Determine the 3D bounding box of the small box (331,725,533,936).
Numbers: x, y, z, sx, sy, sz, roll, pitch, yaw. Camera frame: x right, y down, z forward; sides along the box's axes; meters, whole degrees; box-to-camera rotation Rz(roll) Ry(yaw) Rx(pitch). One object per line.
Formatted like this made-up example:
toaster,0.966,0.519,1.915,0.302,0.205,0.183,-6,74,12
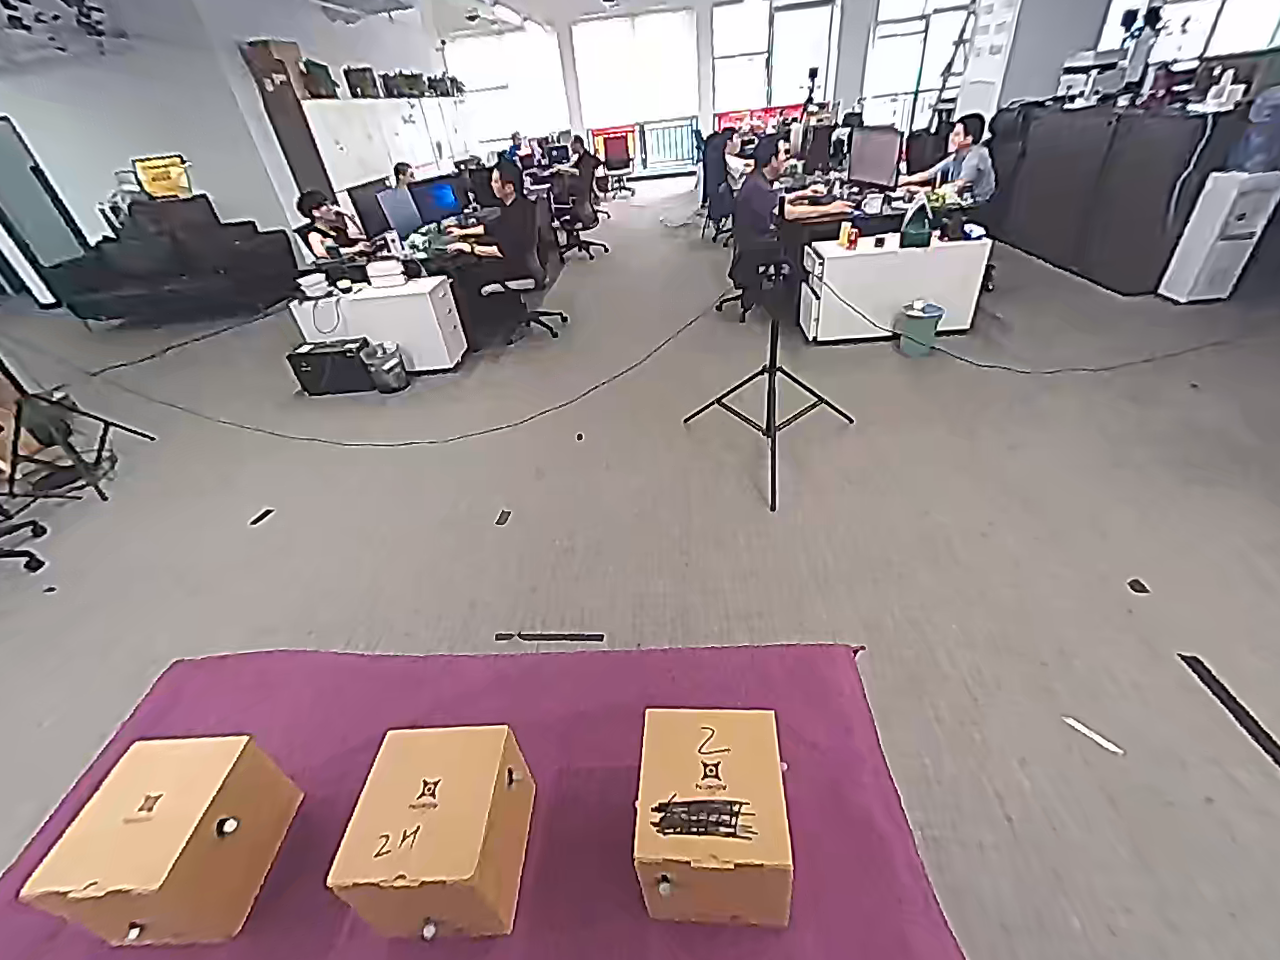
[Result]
small box,-0.242,0.439,0.684,0.168,0.176,0.179,-5,36,4

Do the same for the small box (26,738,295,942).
small box,-0.594,0.467,0.707,0.168,0.176,0.179,-4,36,3
